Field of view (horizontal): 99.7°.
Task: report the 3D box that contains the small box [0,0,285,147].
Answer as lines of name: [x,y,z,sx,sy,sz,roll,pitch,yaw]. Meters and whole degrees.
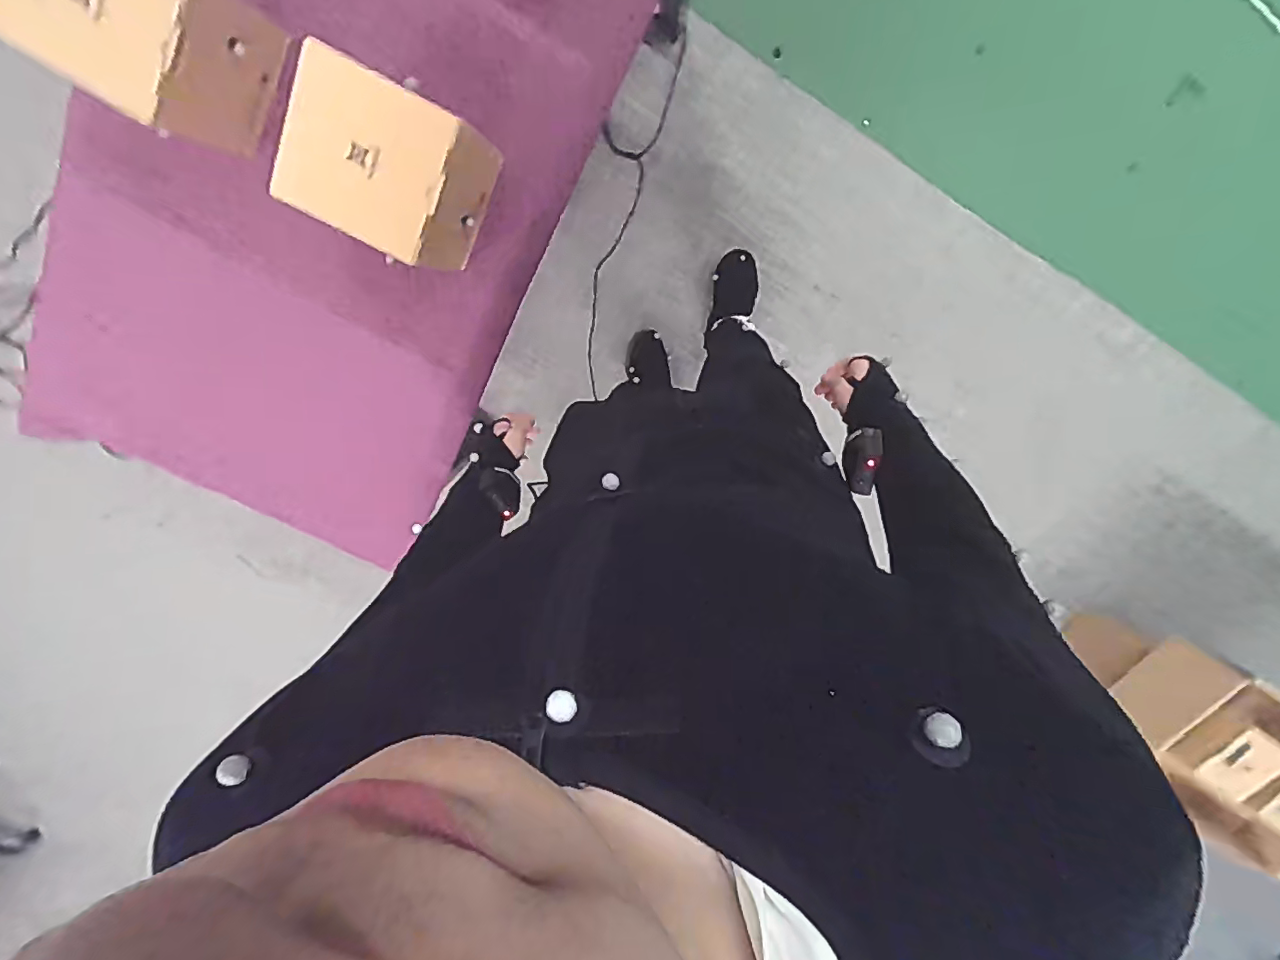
small box: [-0.563,-0.523,0.629,0.179,0.176,0.168,30,106,-9]

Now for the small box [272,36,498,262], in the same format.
small box: [-0.303,-0.386,0.673,0.179,0.176,0.168,25,108,-7]

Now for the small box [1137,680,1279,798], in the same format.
small box: [1.404,0.627,1.332,0.179,0.176,0.168,32,107,-11]
